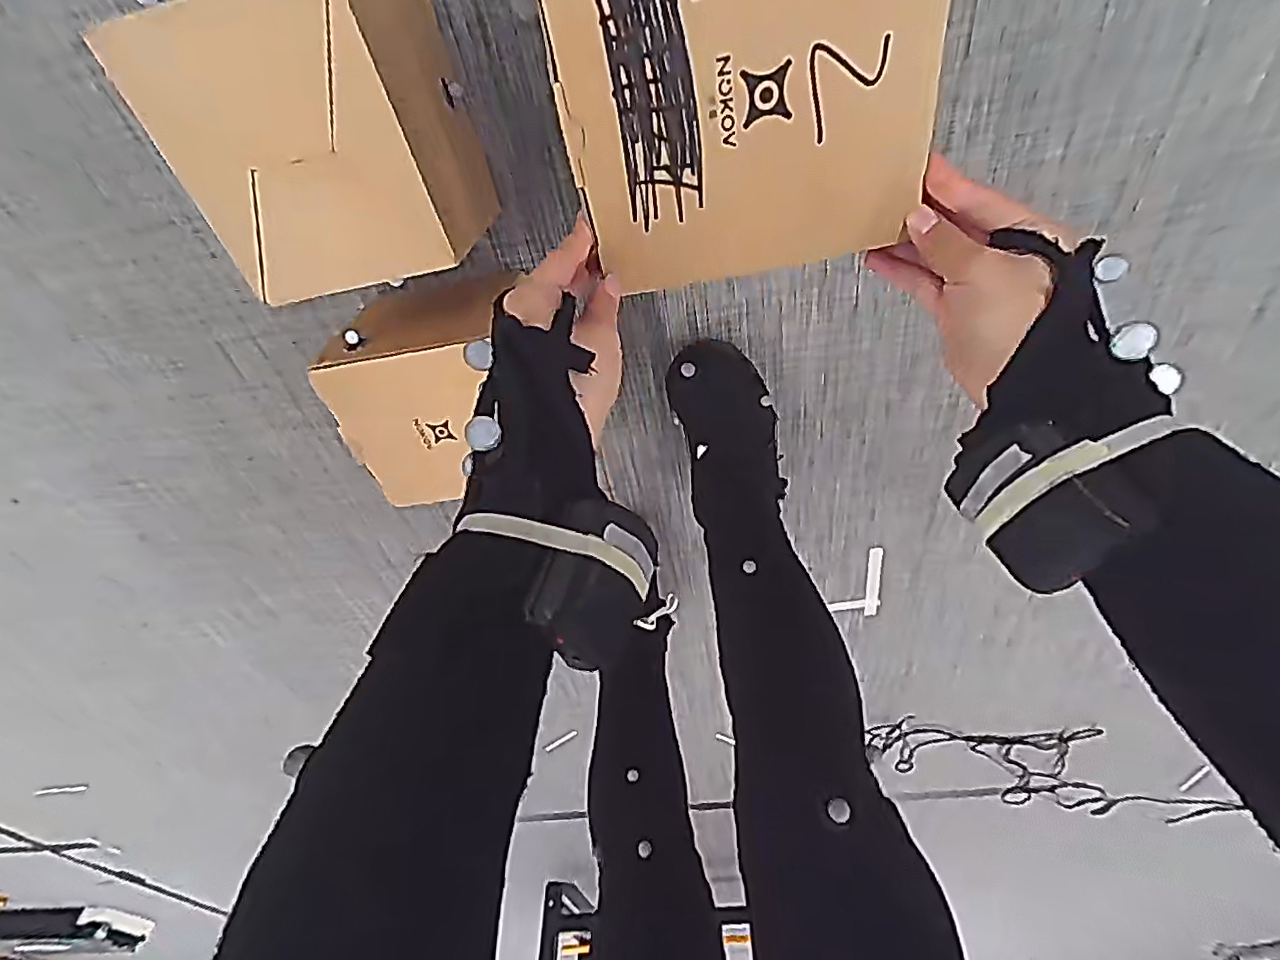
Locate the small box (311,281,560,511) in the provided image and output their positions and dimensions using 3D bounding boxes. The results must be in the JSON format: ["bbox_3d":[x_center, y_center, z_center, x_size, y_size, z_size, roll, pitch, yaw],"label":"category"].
[{"bbox_3d":[-0.189,-0.092,0.569,0.179,0.176,0.168,-8,129,7],"label":"small box"}]
